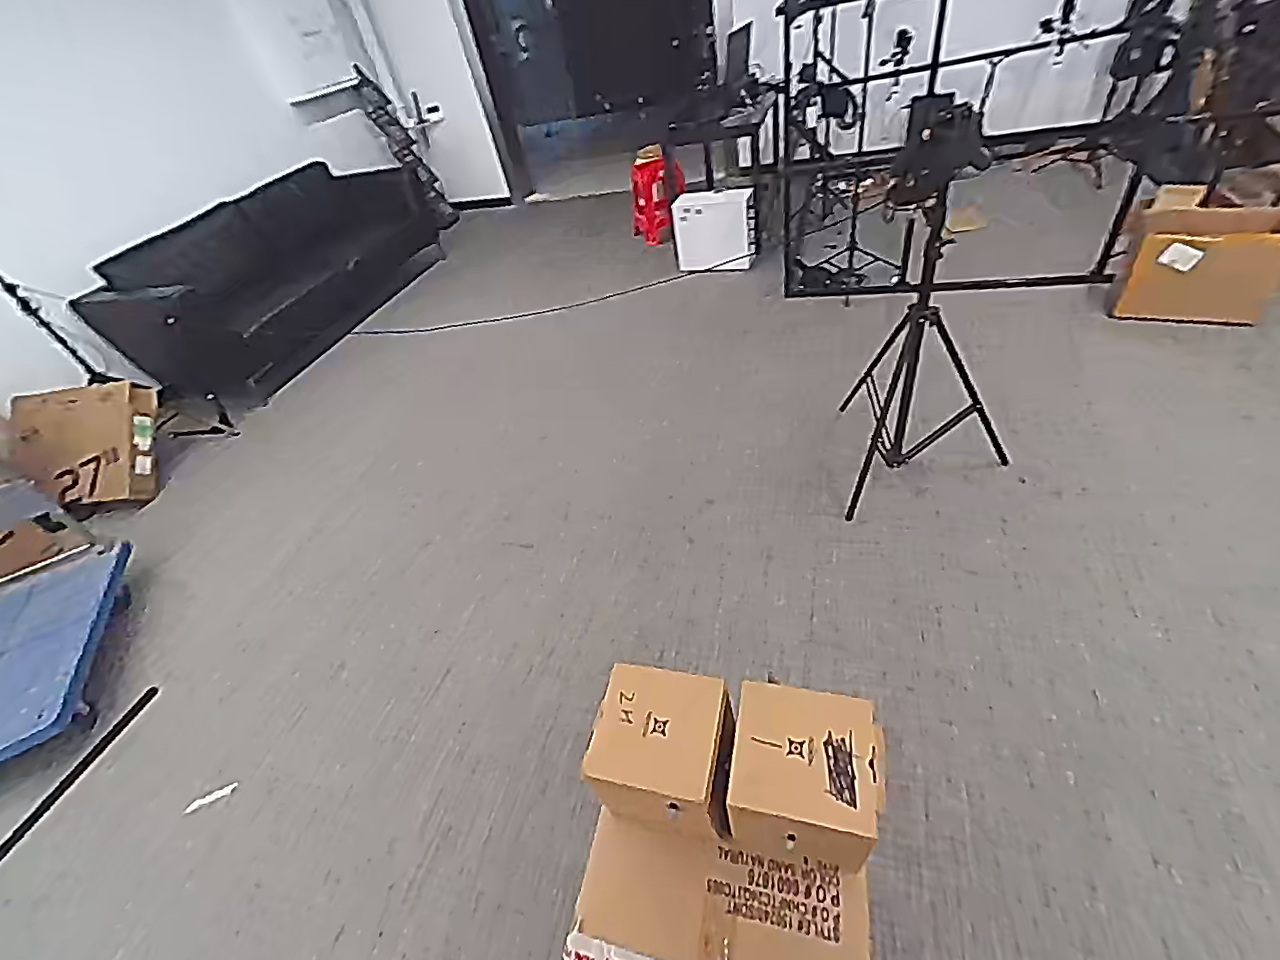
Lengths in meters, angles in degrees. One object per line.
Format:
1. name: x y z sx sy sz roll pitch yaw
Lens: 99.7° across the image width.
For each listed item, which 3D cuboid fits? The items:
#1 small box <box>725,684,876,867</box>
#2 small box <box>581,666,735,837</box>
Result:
1. small box: 0.222 0.412 0.753 0.179 0.176 0.168 3 46 18
2. small box: 0.040 0.406 0.809 0.179 0.176 0.168 2 44 21
